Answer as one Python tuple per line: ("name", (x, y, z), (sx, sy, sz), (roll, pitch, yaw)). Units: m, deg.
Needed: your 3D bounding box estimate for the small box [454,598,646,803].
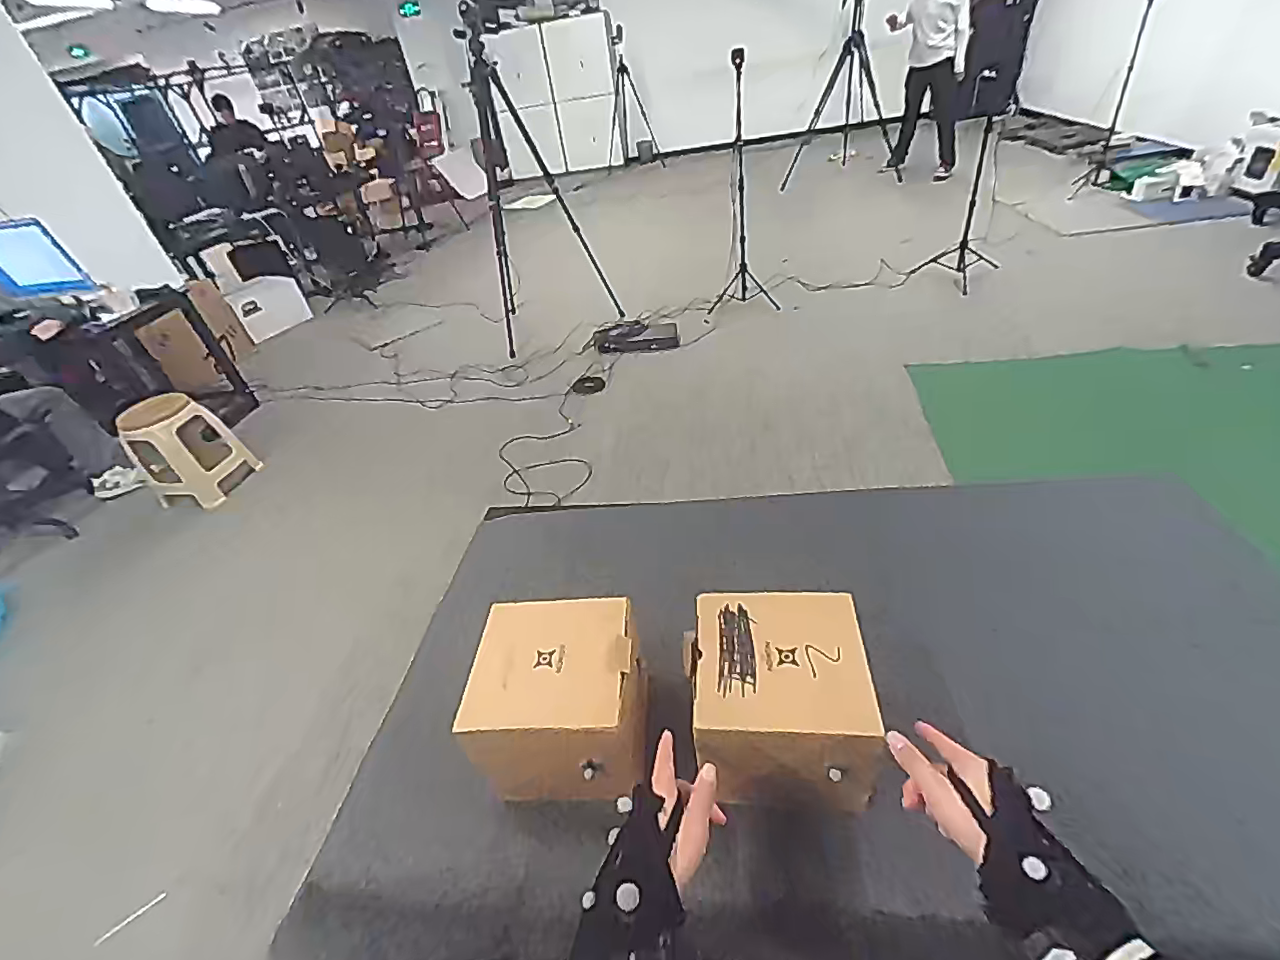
("small box", (-0.088, 0.263, 0.644), (0.179, 0.176, 0.168), (-6, 37, 7))
